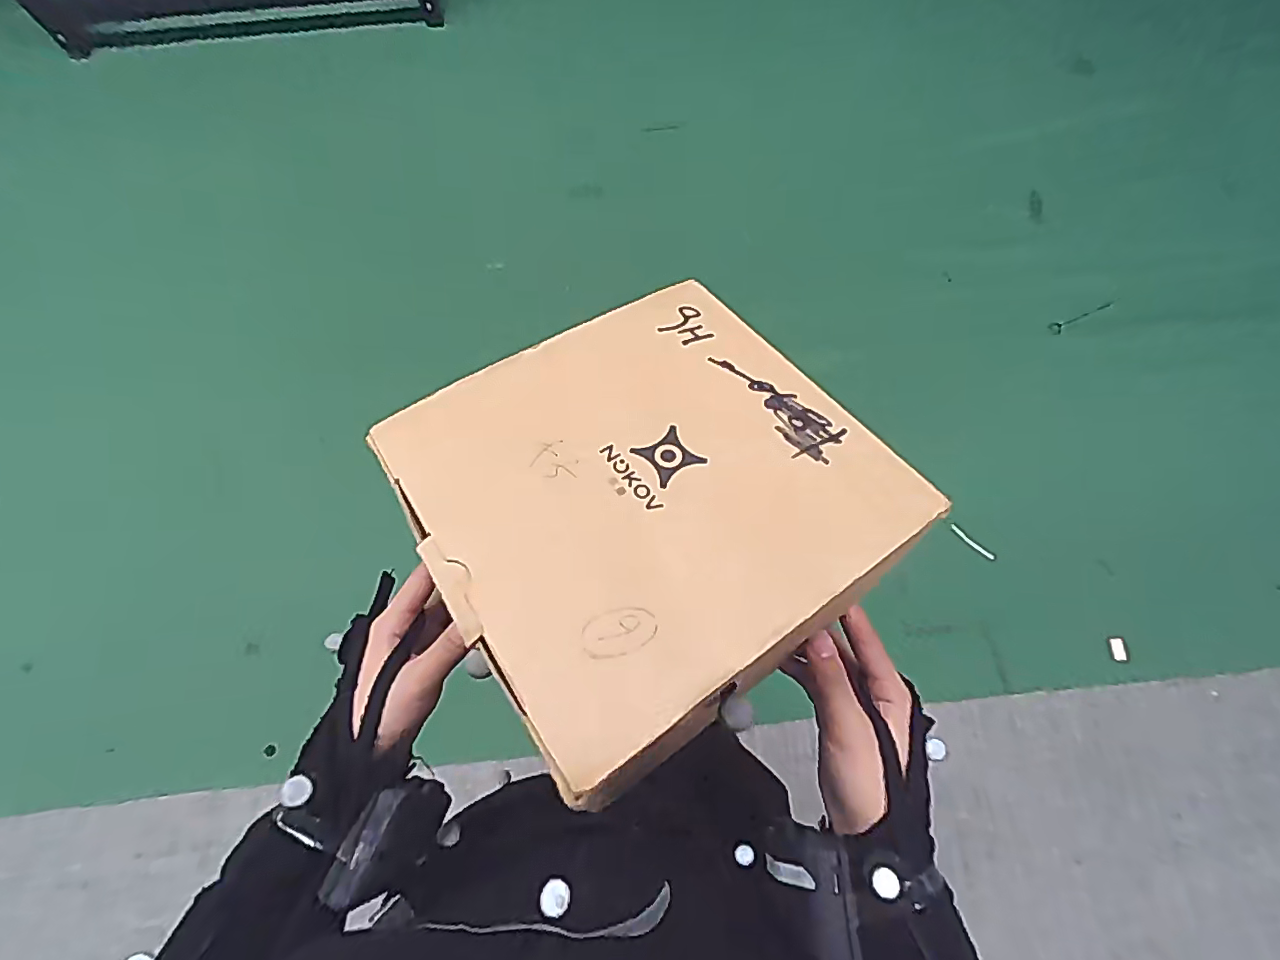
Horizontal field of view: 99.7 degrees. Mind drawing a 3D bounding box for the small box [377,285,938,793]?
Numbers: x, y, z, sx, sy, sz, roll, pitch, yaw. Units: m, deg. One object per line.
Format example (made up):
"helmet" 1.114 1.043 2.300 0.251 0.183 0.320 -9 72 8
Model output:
"small box" 0.003 0.038 0.287 0.179 0.176 0.168 -31 63 -18
